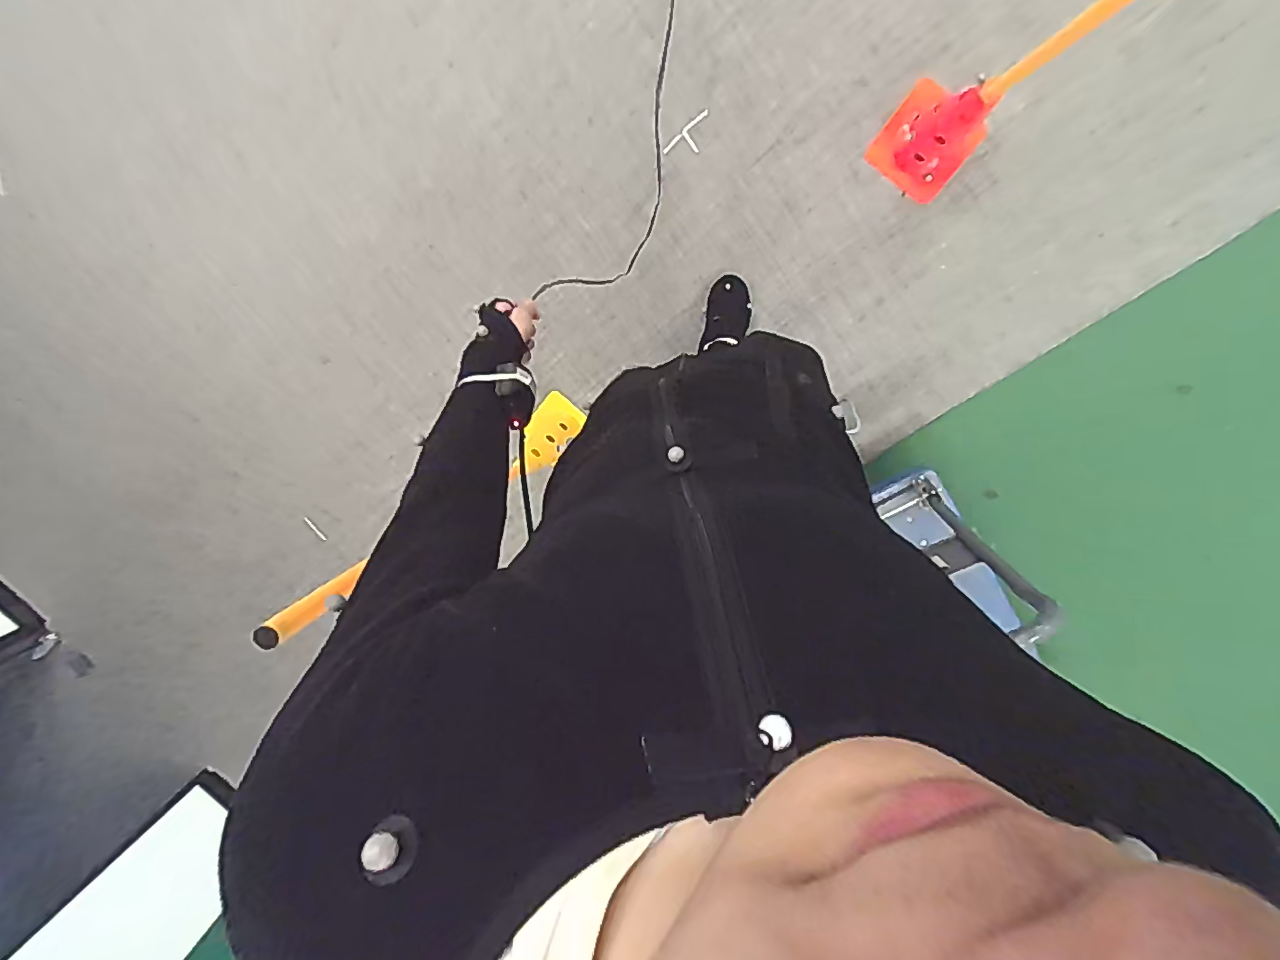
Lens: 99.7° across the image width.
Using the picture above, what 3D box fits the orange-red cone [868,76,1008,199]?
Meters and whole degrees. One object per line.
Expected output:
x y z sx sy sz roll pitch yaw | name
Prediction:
0.643 -0.739 1.100 0.198 0.360 0.199 37 110 -6 | orange-red cone
